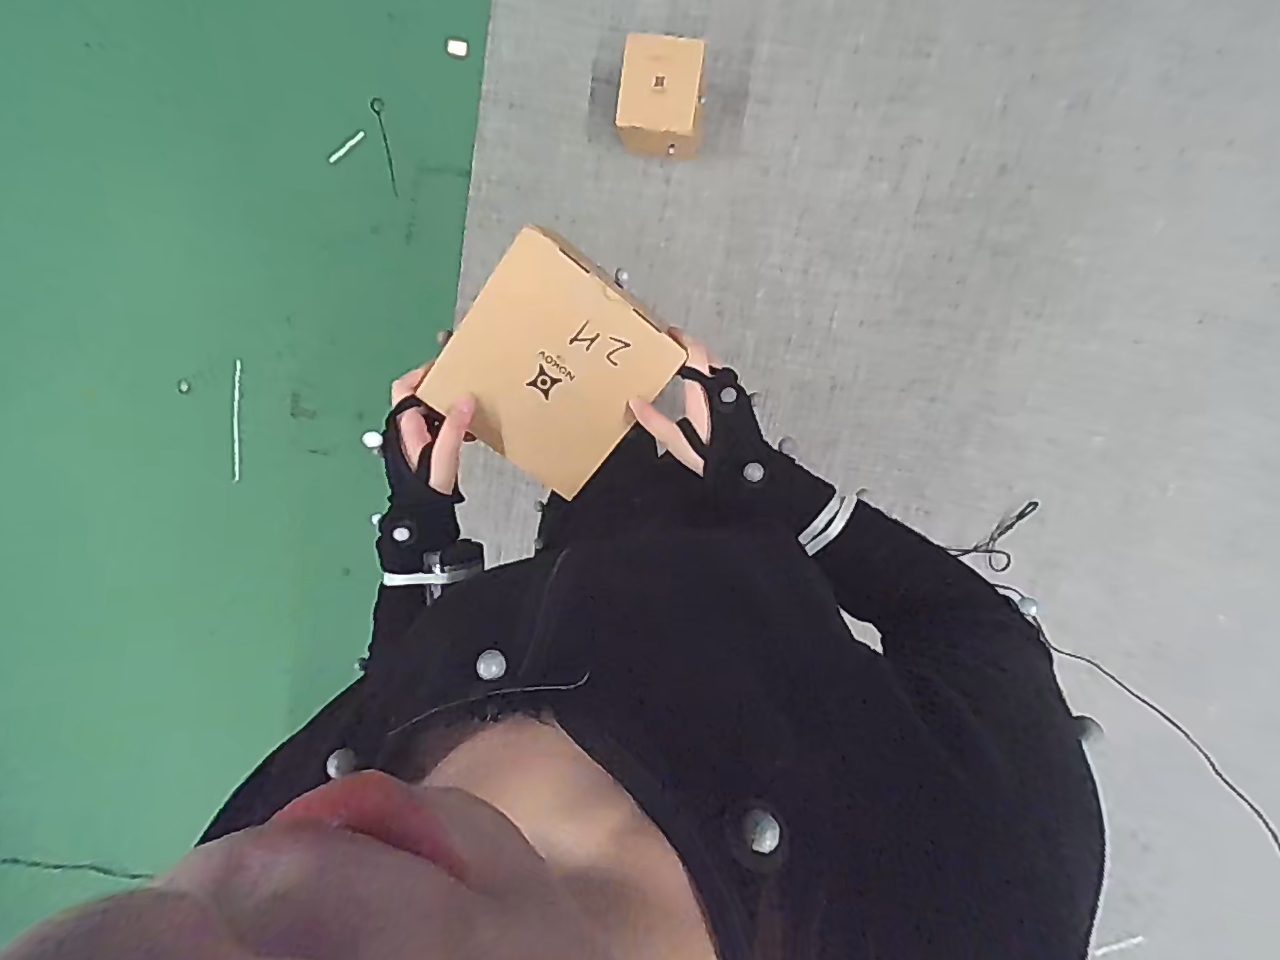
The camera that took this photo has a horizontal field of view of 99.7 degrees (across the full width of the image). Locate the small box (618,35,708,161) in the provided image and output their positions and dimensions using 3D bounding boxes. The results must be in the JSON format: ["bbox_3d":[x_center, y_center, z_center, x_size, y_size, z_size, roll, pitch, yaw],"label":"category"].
[{"bbox_3d":[0.057,-0.842,1.209,0.168,0.176,0.179,11,103,5],"label":"small box"}]
